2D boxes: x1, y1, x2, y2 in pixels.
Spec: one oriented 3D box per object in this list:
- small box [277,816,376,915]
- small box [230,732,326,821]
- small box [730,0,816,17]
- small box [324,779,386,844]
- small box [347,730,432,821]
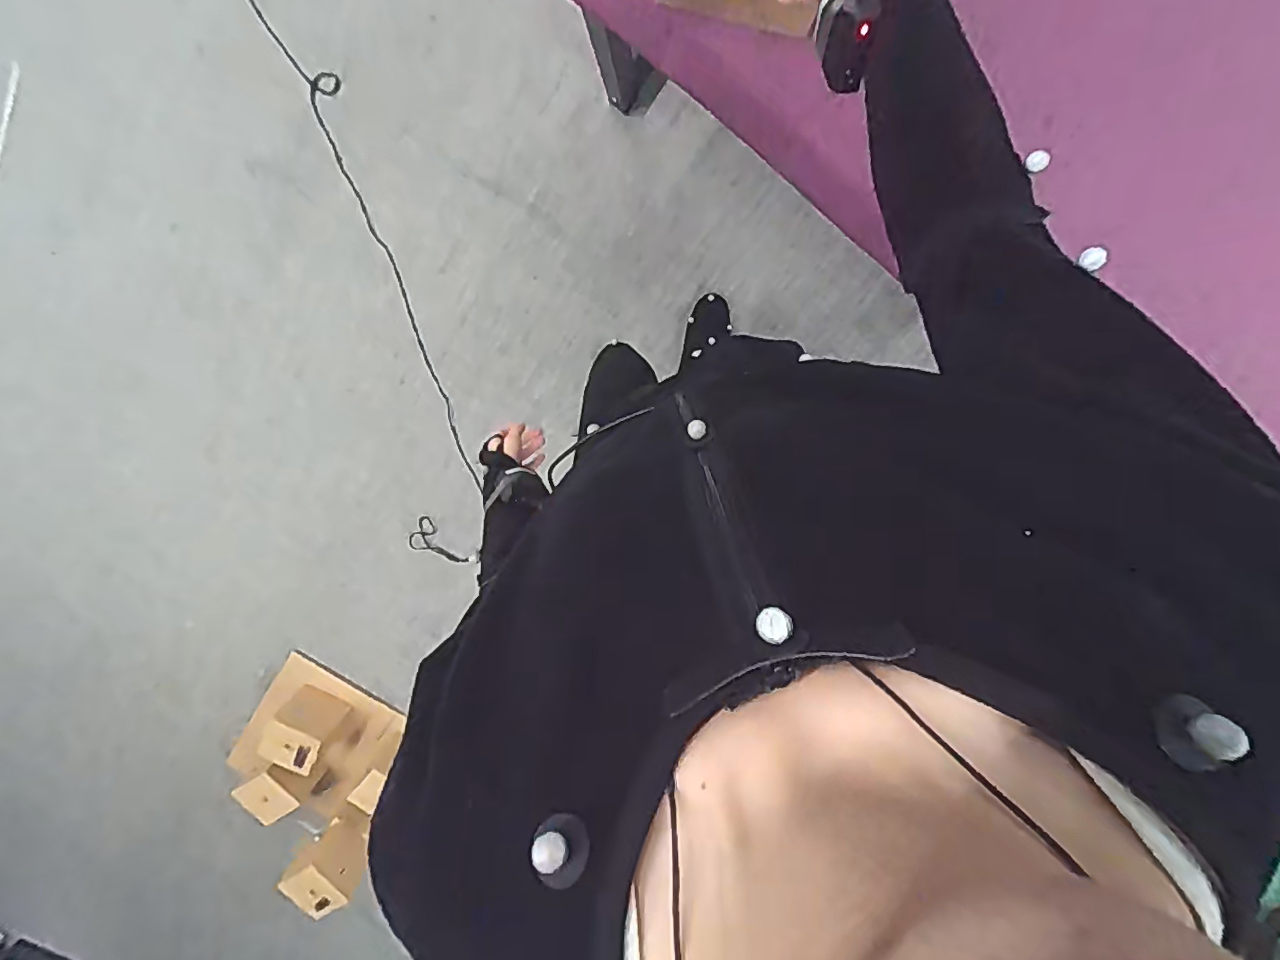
[{"bbox_3d":[-0.993,1.230,1.731,0.168,0.176,0.179,-33,102,13],"label":"small box"},{"bbox_3d":[-1.222,1.005,1.841,0.179,0.176,0.168,-33,103,13],"label":"small box"},{"bbox_3d":[0.116,-0.577,0.498,0.179,0.176,0.168,13,108,-1],"label":"small box"},{"bbox_3d":[-0.986,1.181,1.888,0.168,0.176,0.179,37,107,-8],"label":"small box"},{"bbox_3d":[-0.828,0.982,1.812,0.168,0.176,0.179,41,106,-9],"label":"small box"}]
